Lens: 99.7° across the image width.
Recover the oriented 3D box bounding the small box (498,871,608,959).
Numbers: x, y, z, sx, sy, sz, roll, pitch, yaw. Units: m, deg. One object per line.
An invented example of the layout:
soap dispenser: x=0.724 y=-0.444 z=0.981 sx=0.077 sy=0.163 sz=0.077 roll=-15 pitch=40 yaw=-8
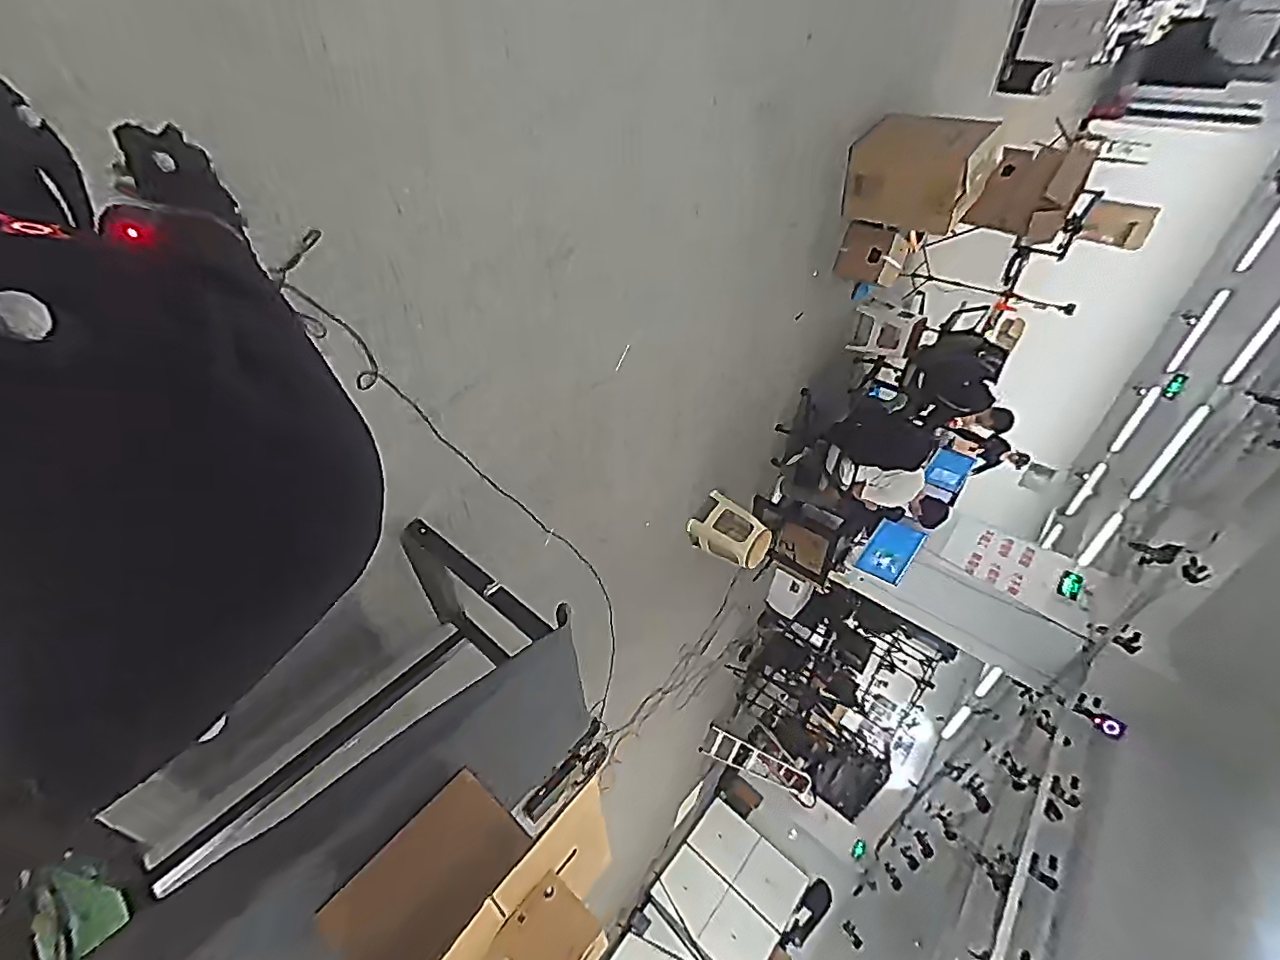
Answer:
small box: x=-0.190 y=1.012 z=1.190 sx=0.168 sy=0.176 sz=0.179 roll=-38 pitch=142 yaw=-34
